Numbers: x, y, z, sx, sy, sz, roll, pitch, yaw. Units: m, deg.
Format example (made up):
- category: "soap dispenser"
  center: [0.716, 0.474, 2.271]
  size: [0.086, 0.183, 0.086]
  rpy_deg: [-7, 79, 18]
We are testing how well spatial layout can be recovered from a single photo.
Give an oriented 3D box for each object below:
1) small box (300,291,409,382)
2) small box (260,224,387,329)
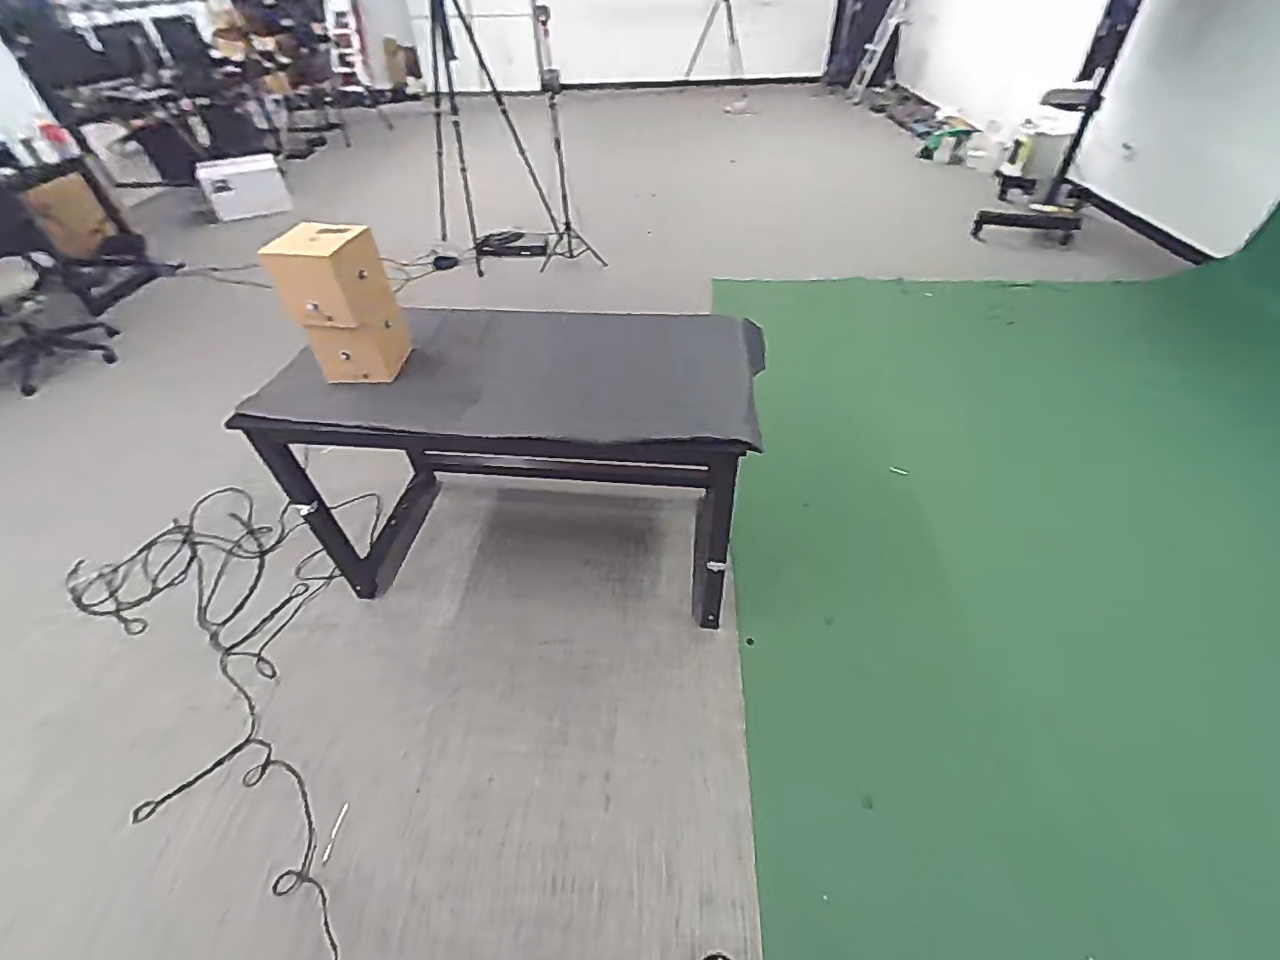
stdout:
- category: "small box"
  center: [-0.708, -0.361, 1.368]
  size: [0.168, 0.176, 0.179]
  rpy_deg: [1, 43, 0]
- category: "small box"
  center: [-0.710, -0.469, 1.243]
  size: [0.168, 0.176, 0.179]
  rpy_deg: [6, 45, 6]
